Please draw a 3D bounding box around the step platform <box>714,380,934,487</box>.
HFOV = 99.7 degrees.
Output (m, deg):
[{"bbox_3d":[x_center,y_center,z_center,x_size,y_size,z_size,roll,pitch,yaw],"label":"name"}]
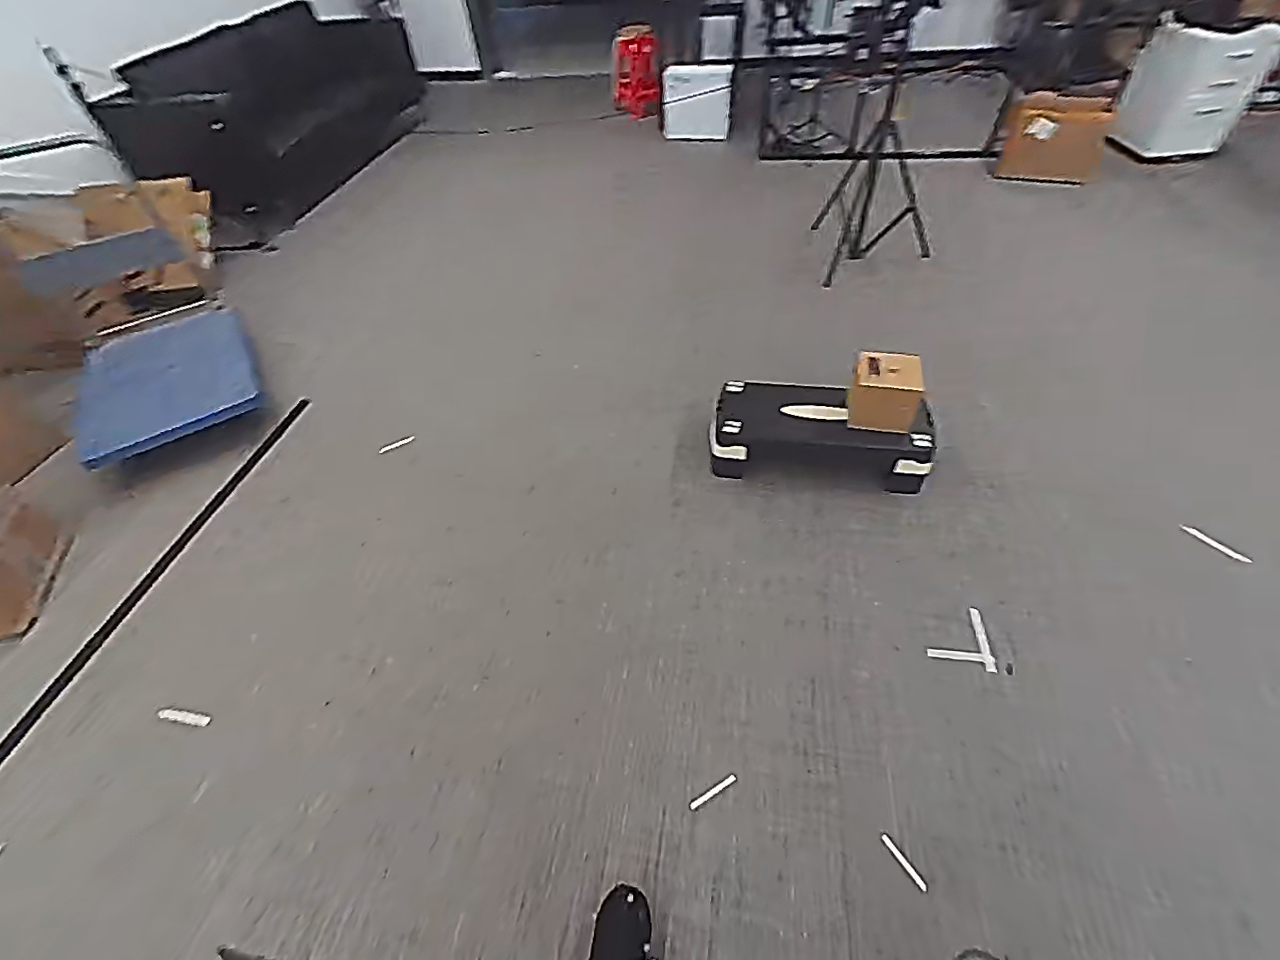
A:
[{"bbox_3d":[0.593,-0.168,1.802,0.684,0.204,0.286,4,49,10],"label":"step platform"}]
